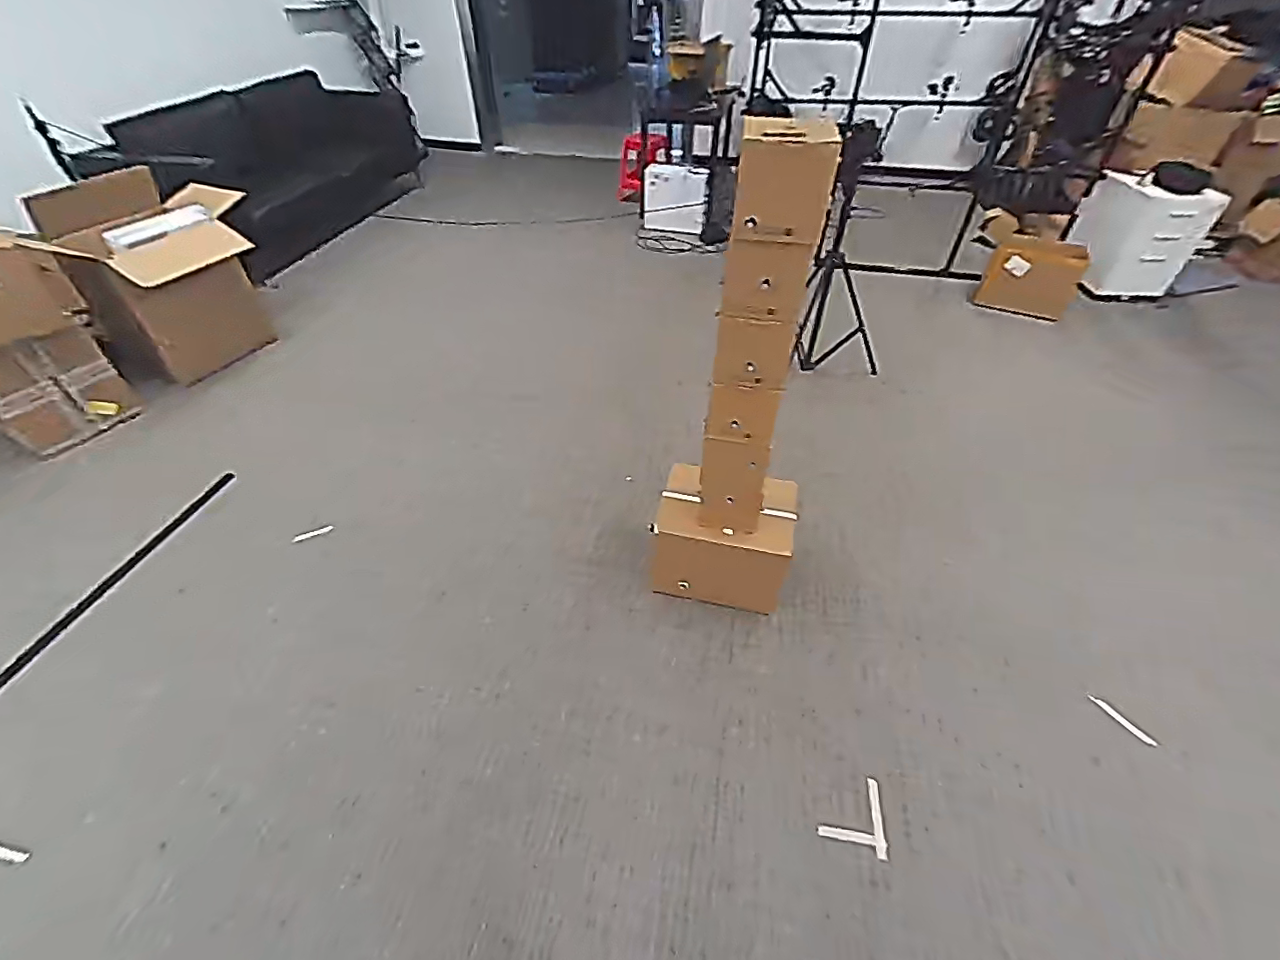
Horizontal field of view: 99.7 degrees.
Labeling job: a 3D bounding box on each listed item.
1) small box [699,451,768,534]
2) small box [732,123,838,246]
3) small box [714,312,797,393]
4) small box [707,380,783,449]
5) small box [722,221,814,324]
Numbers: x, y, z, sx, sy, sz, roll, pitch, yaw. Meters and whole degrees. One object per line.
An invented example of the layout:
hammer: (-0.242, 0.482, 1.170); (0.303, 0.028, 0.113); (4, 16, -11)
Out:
small box: (0.270, 0.038, 1.586); (0.179, 0.176, 0.168); (9, 45, 7)
small box: (0.268, -0.558, 1.024); (0.168, 0.176, 0.179); (7, 45, 7)
small box: (0.265, -0.326, 1.257); (0.168, 0.176, 0.179); (7, 45, 8)
small box: (0.265, -0.206, 1.369); (0.168, 0.176, 0.179); (9, 45, 8)
small box: (0.267, -0.448, 1.147); (0.168, 0.176, 0.179); (7, 46, 7)
